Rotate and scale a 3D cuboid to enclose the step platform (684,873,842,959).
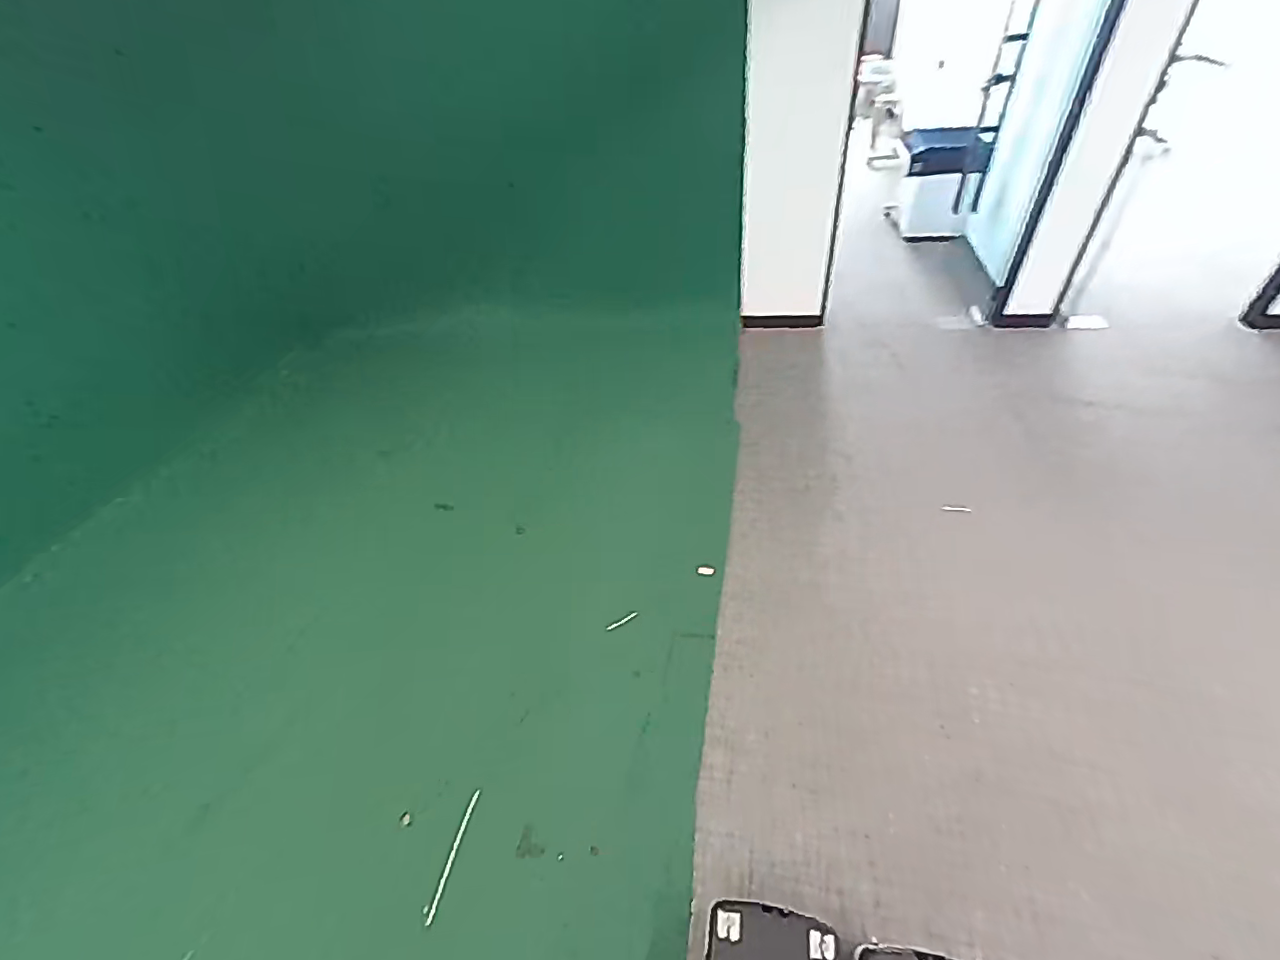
[{"bbox_3d":[0.186,1.079,0.882,0.286,0.204,0.684,4,46,11],"label":"step platform"}]
